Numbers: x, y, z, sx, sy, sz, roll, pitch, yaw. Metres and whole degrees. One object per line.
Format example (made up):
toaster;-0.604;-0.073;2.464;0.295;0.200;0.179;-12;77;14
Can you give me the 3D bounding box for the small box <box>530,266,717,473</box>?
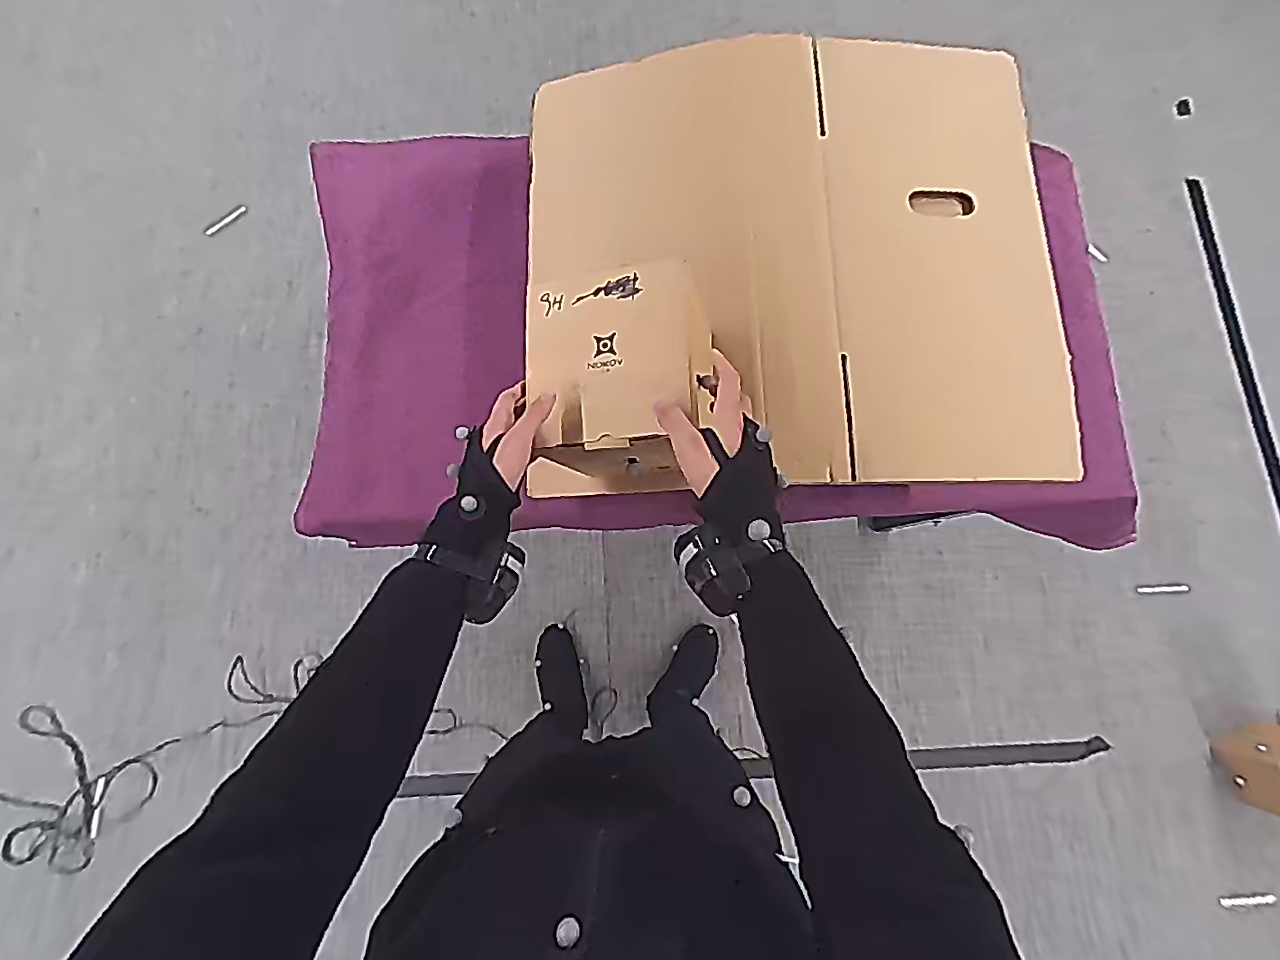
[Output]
small box;-0.009;-0.104;0.599;0.168;0.176;0.179;-4;81;15
